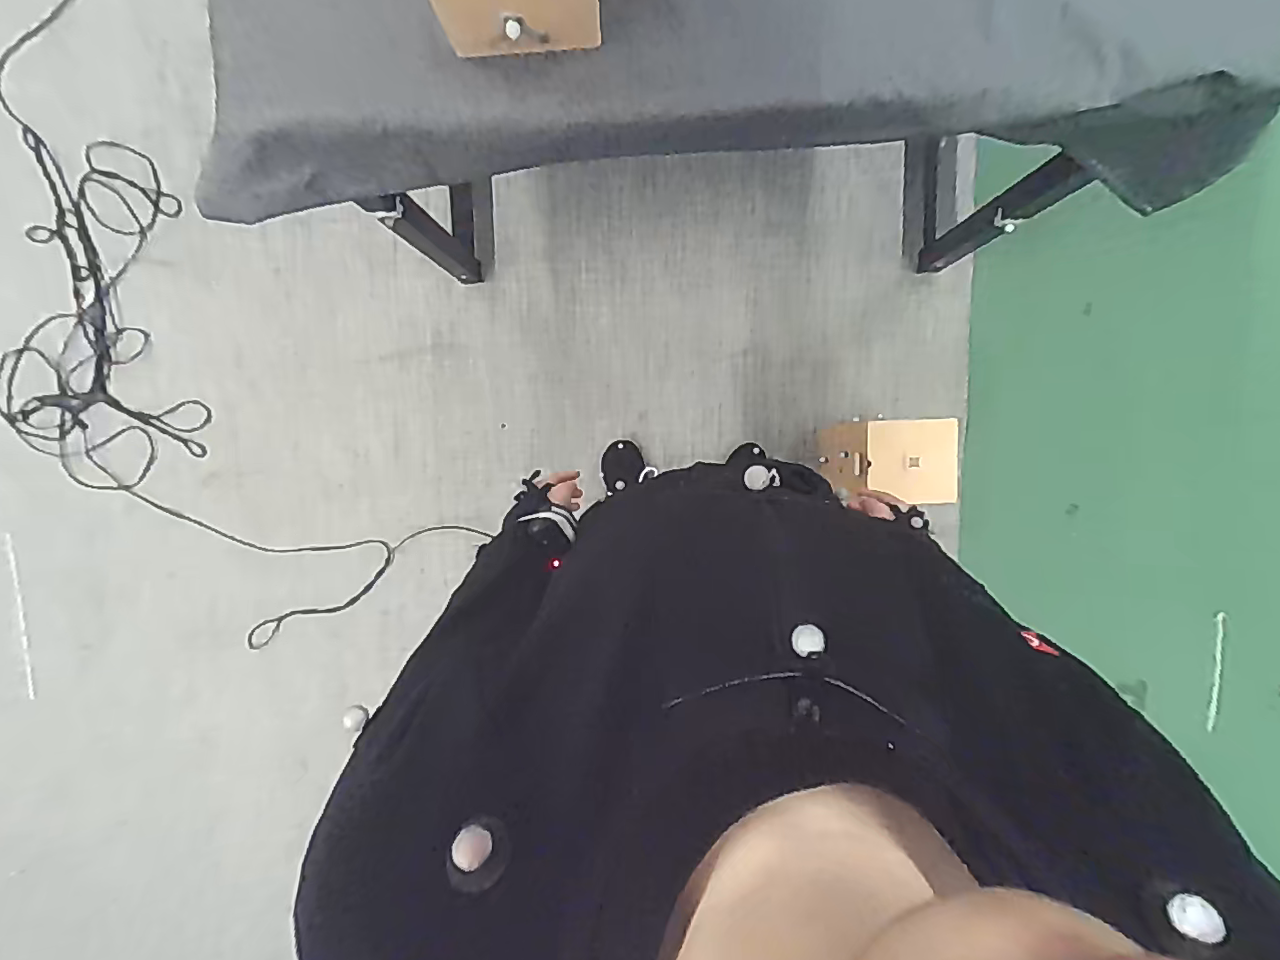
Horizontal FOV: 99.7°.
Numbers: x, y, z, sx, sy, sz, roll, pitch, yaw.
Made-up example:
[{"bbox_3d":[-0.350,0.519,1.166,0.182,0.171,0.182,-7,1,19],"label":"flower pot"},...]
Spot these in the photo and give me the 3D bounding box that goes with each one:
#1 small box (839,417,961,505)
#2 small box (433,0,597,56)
[{"bbox_3d":[0.525,-0.044,1.107,0.179,0.176,0.168,-3,95,3],"label":"small box"},{"bbox_3d":[-0.135,-0.559,0.519,0.168,0.176,0.179,-3,95,2],"label":"small box"}]
